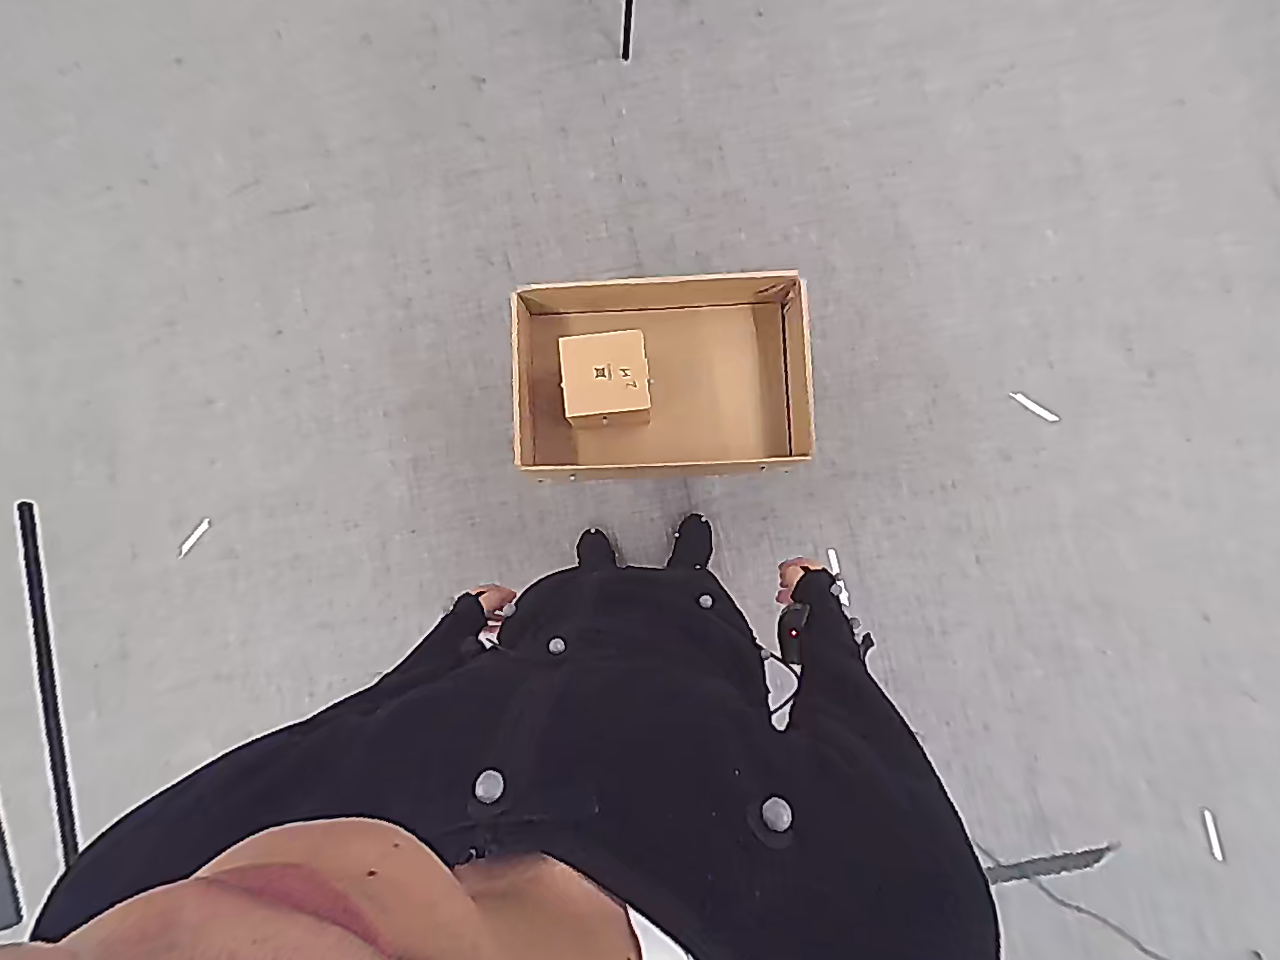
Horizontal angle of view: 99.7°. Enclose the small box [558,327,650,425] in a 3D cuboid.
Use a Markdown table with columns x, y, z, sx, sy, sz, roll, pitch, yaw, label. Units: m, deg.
| x | y | z | sx | sy | sz | roll | pitch | yaw | label |
| --- | --- | --- | --- | --- | --- | --- | --- | --- | --- |
| -0.072 | -0.216 | 1.167 | 0.179 | 0.176 | 0.168 | -5 | 87 | 0 | small box |
